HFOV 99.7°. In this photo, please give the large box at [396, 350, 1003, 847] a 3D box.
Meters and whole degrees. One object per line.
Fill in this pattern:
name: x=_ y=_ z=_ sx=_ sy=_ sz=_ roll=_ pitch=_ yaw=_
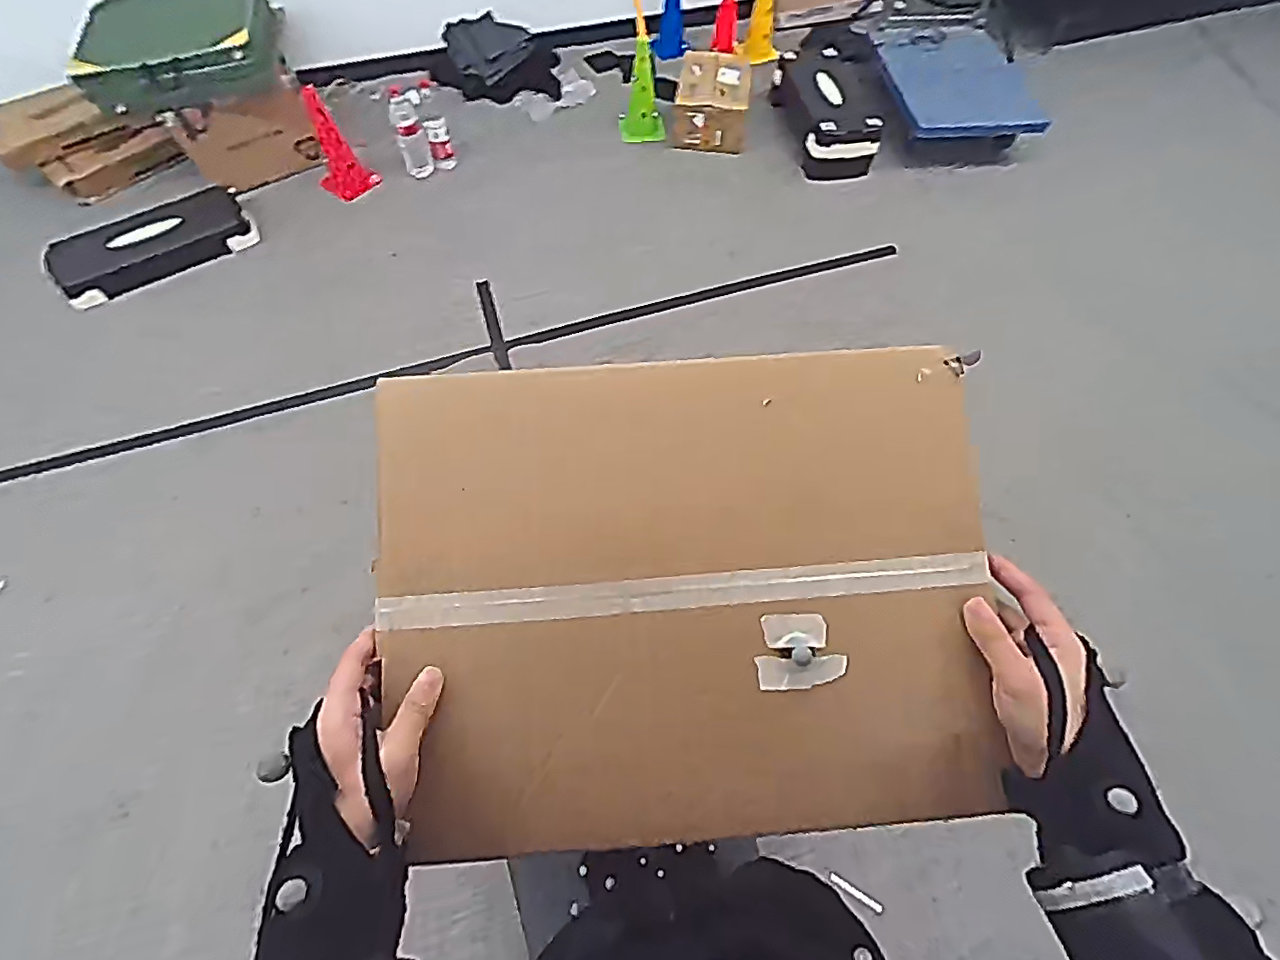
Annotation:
large box: x=0.030 y=0.089 z=0.519 sx=0.408 sy=0.320 sz=0.320 roll=-4 pitch=84 yaw=-2
